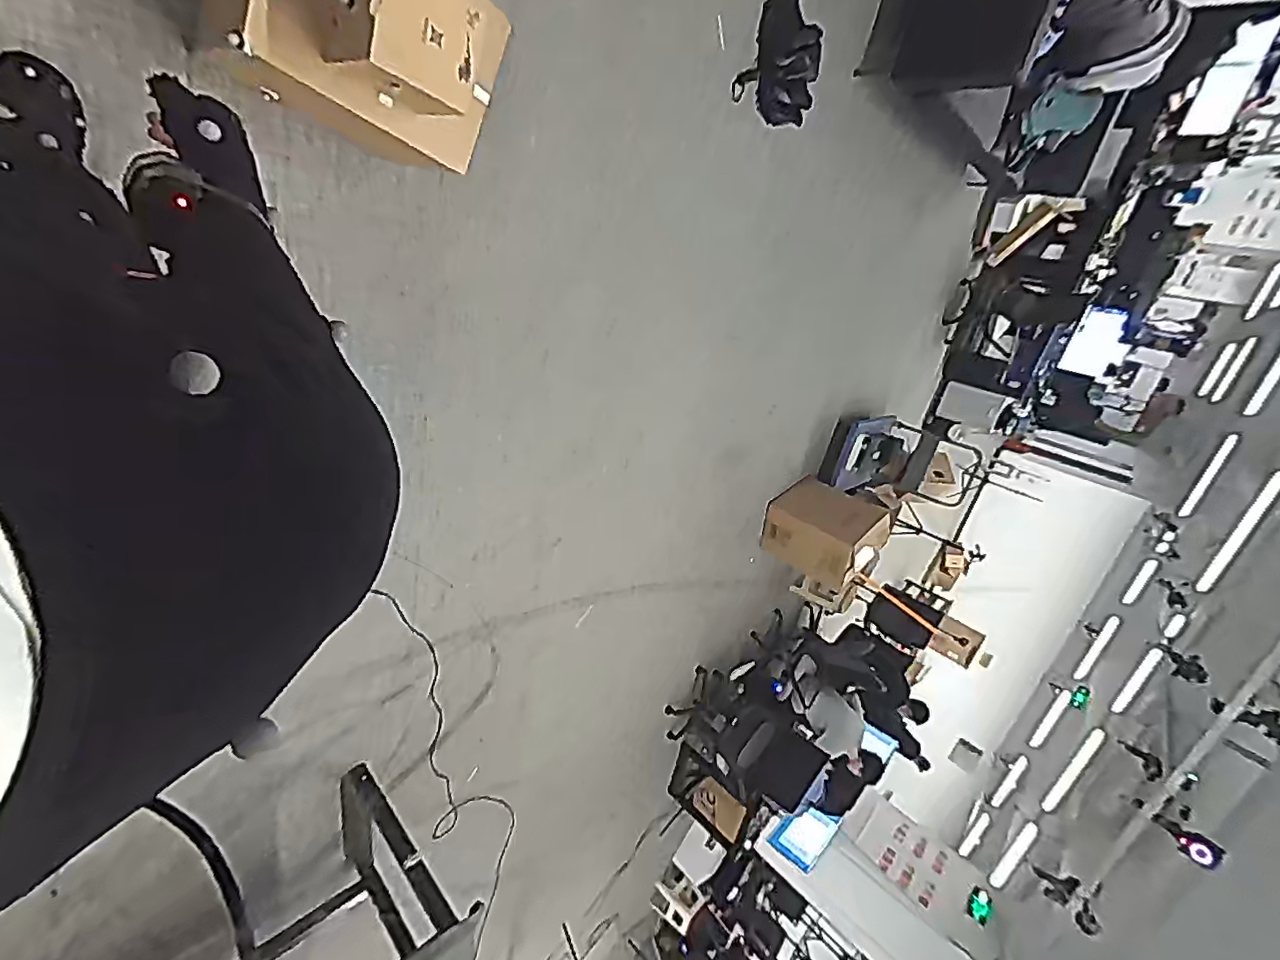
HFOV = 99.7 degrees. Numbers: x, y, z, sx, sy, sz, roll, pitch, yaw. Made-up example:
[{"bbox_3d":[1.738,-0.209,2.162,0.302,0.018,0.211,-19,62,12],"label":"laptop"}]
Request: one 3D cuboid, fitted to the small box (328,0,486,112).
[{"bbox_3d":[-0.388,-0.735,0.891,0.179,0.176,0.168,-3,116,-50],"label":"small box"}]
